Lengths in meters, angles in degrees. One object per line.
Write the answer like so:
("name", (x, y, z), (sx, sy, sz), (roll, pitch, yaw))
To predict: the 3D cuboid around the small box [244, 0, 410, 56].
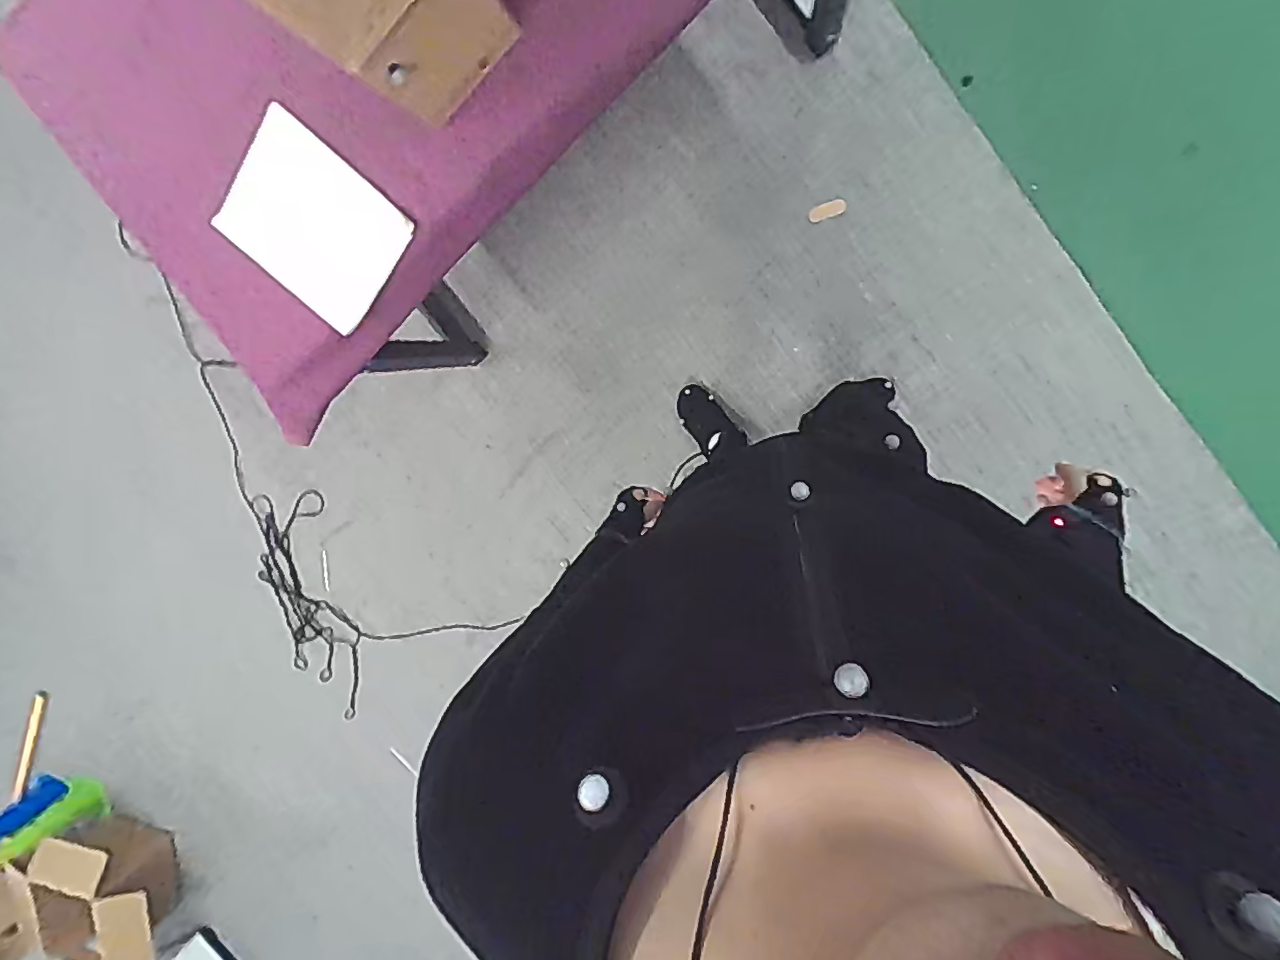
("small box", (-0.305, -0.523, 0.470), (0.168, 0.176, 0.179), (-36, 93, 17))
